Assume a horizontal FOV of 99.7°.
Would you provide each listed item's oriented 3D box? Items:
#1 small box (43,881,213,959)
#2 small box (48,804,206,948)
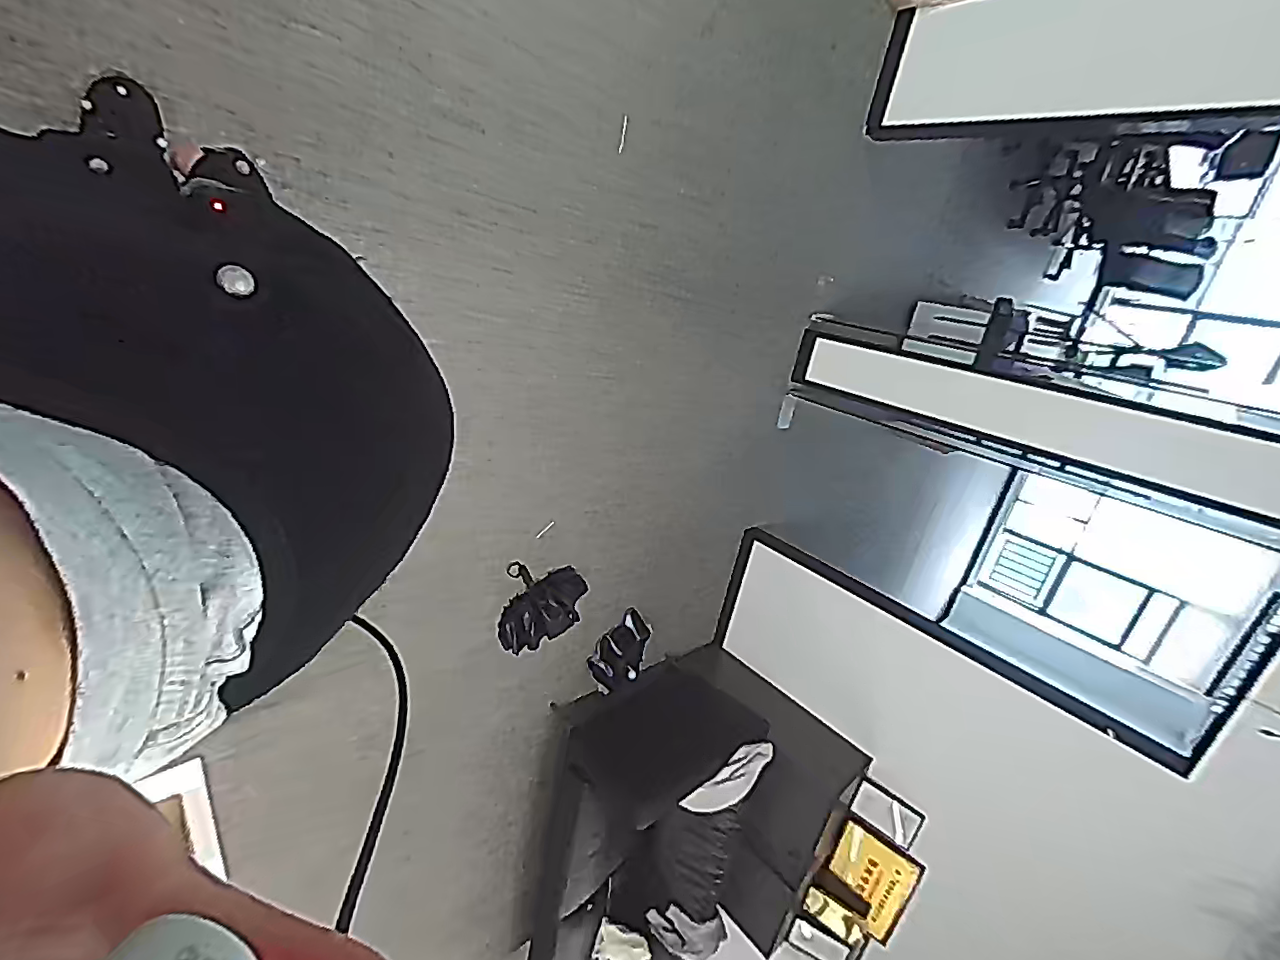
[{"bbox_3d":[-0.737,0.750,0.791,0.168,0.176,0.179,-15,121,-41],"label":"small box"},{"bbox_3d":[-0.843,0.695,0.901,0.168,0.176,0.179,-12,121,-41],"label":"small box"}]
